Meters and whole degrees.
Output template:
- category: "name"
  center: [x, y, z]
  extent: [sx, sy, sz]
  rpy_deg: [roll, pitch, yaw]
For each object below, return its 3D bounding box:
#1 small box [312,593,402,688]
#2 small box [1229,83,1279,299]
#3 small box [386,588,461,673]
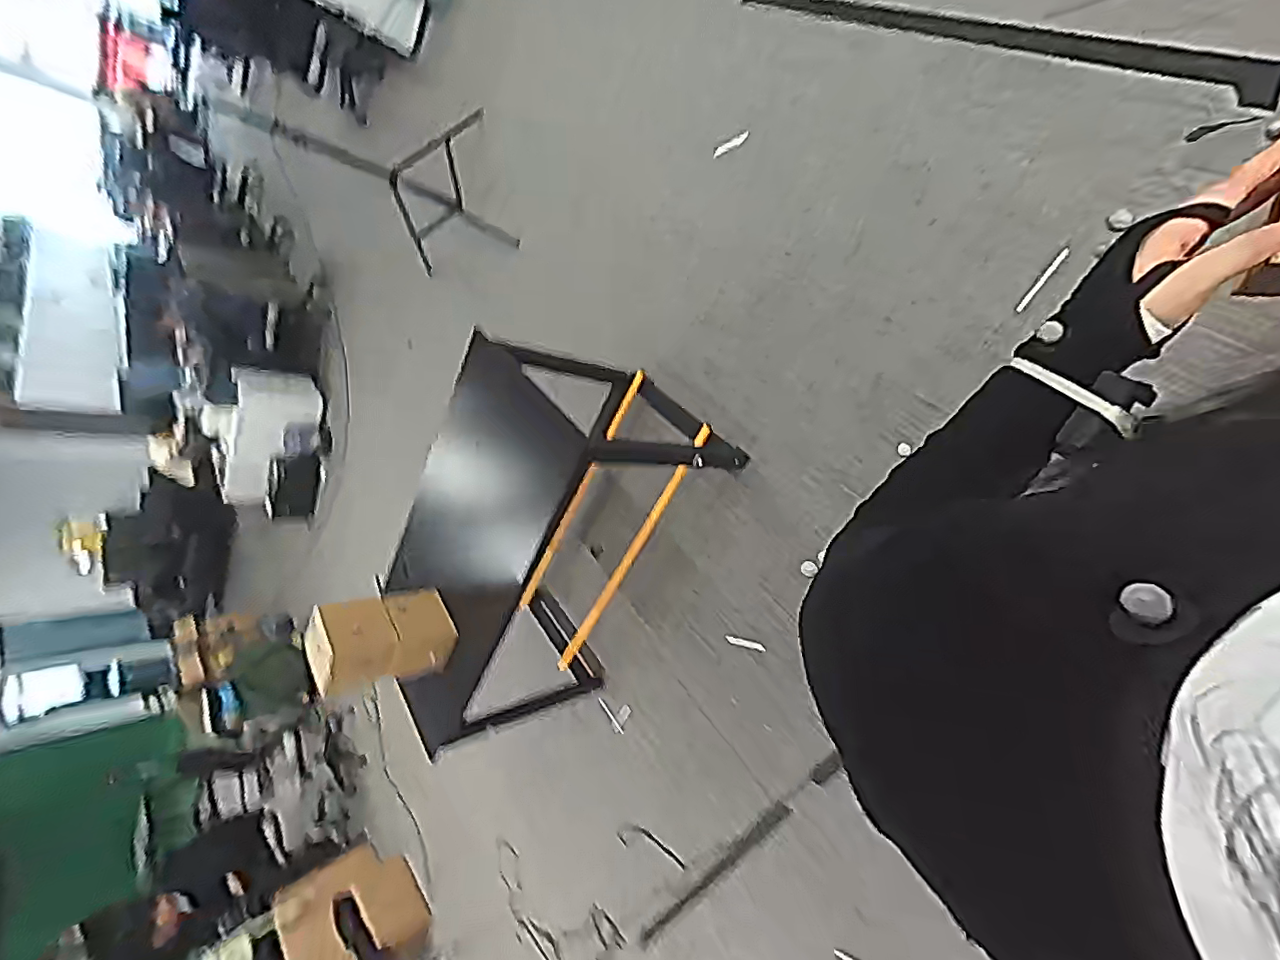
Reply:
- category: "small box"
  center: [-0.783, 0.435, 1.500]
  extent: [0.179, 0.176, 0.168]
  rpy_deg: [45, 118, 33]
- category: "small box"
  center: [0.506, -0.215, 0.330]
  extent: [0.168, 0.176, 0.179]
  rpy_deg: [13, 106, 40]
- category: "small box"
  center: [-0.665, 0.440, 1.613]
  extent: [0.179, 0.176, 0.168]
  rpy_deg: [48, 121, 32]
